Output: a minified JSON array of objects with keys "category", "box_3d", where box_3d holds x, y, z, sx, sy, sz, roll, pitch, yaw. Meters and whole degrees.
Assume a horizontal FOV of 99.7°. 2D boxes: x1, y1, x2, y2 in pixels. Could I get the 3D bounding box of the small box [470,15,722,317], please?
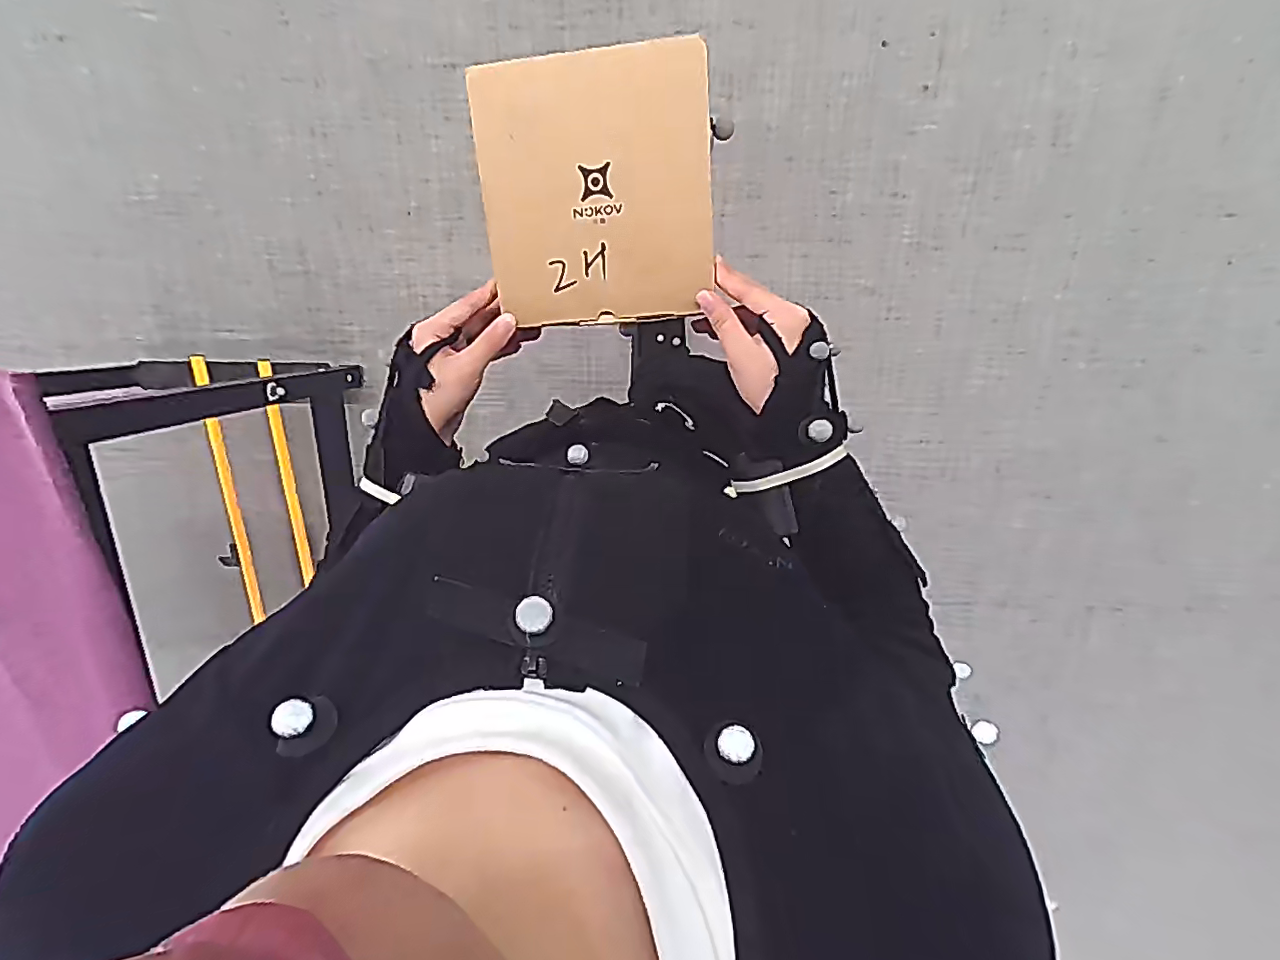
[{"category":"small box","box_3d":[-0.019,-0.230,0.446,0.168,0.176,0.179,-2,108,7]}]
